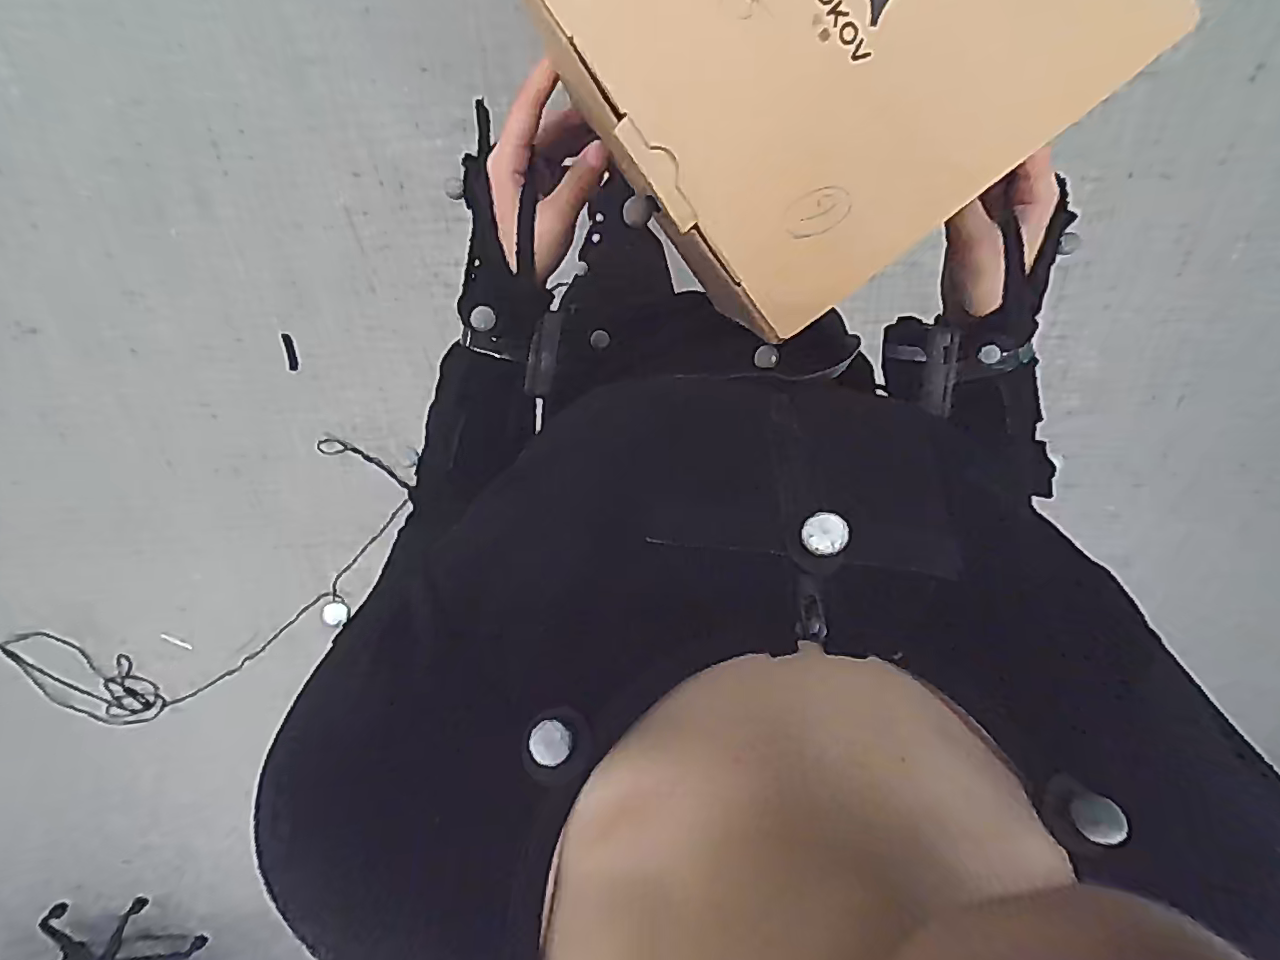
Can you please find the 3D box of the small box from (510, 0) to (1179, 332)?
[{"bbox_3d":[0.068,-0.196,0.257,0.179,0.176,0.168,-36,107,14],"label":"small box"}]
